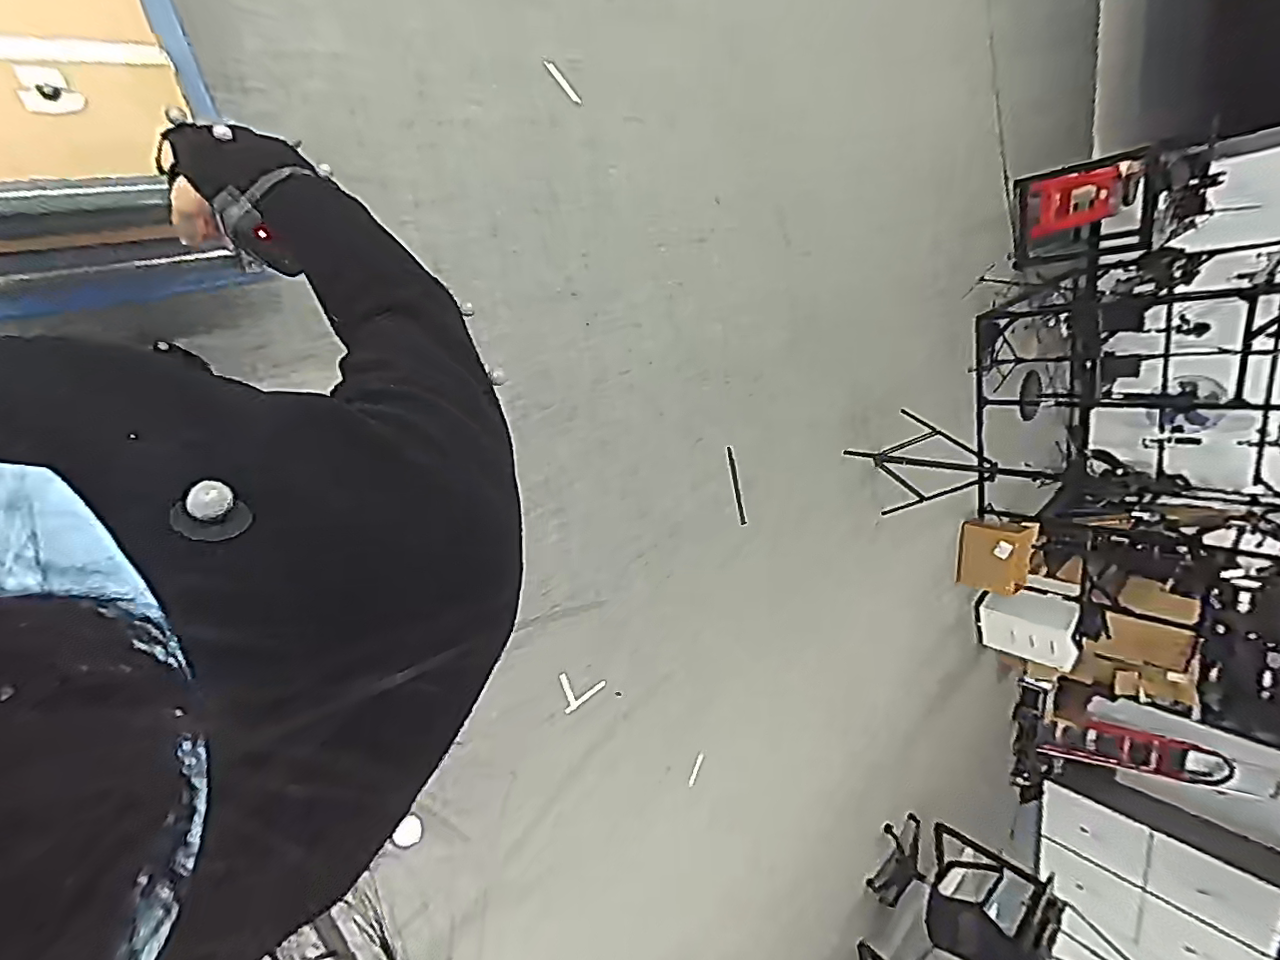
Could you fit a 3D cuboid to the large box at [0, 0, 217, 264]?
[{"bbox_3d":[-0.881,-0.492,0.729,0.408,0.320,0.320,-27,114,-35],"label":"large box"}]
